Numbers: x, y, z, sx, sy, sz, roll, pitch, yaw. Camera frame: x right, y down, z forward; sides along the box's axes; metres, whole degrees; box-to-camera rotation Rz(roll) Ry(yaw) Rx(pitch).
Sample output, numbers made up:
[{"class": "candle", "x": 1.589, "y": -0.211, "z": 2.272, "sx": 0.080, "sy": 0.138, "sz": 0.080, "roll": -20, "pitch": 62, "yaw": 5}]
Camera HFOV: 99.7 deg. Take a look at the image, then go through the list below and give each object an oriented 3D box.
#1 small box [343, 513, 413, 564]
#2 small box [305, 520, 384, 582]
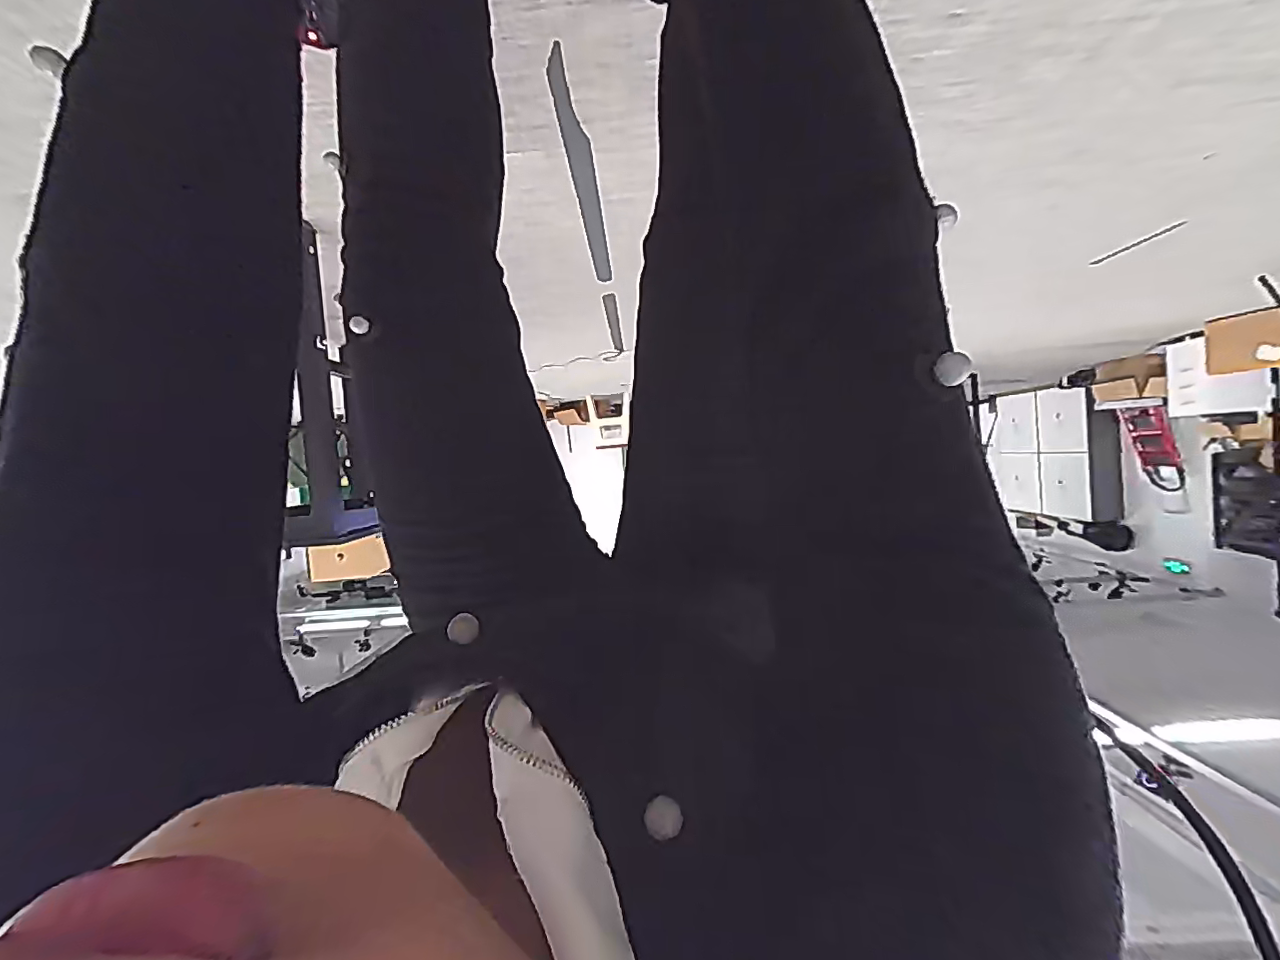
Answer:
[{"class": "small box", "x": -0.955, "y": 0.211, "z": 1.974, "sx": 0.179, "sy": 0.176, "sz": 0.168, "roll": -3, "pitch": -179, "yaw": 1}, {"class": "small box", "x": -0.942, "y": 0.221, "z": 1.724, "sx": 0.179, "sy": 0.176, "sz": 0.168, "roll": -5, "pitch": -178, "yaw": -4}]
